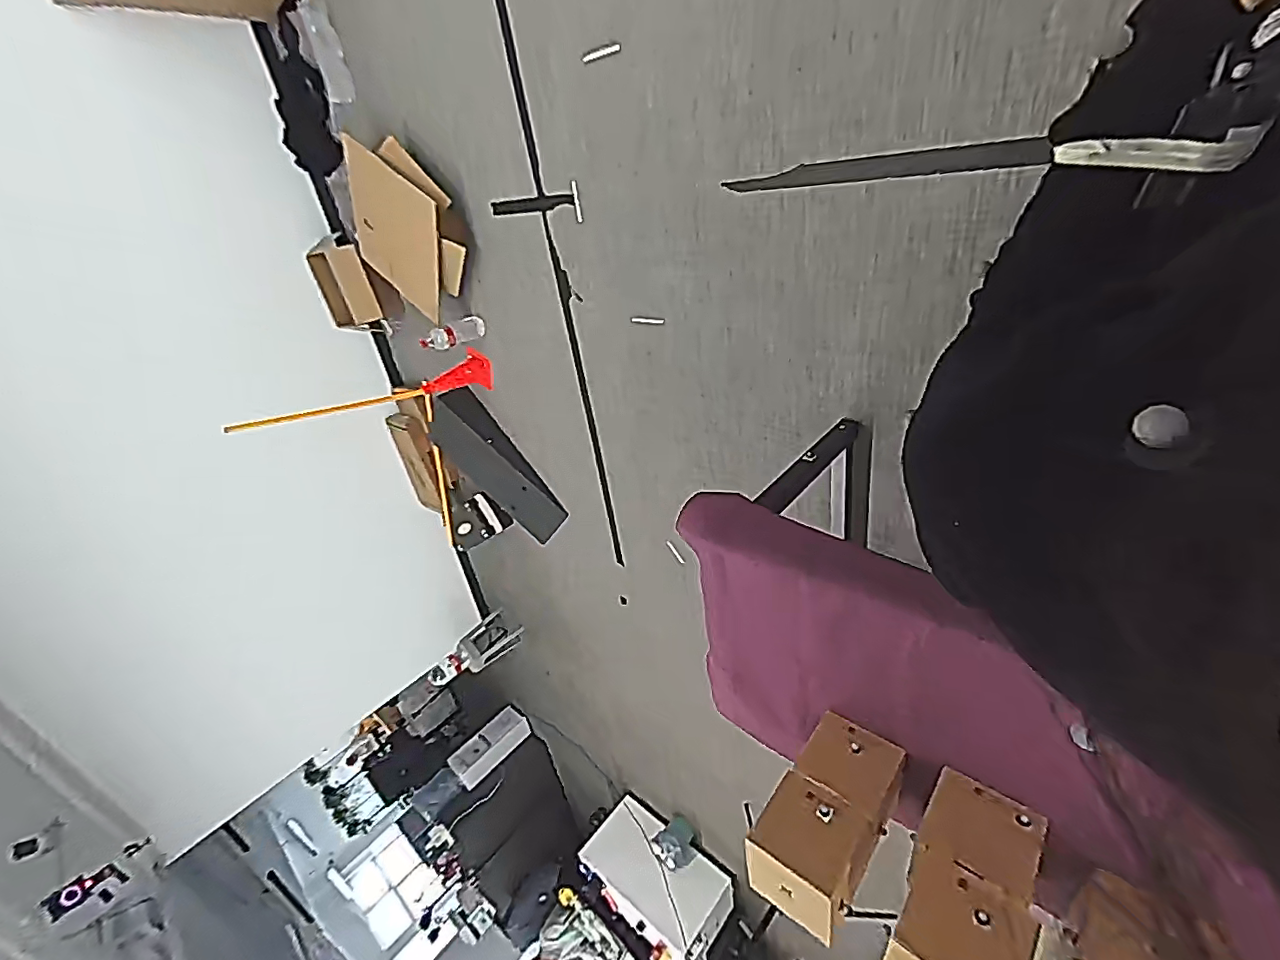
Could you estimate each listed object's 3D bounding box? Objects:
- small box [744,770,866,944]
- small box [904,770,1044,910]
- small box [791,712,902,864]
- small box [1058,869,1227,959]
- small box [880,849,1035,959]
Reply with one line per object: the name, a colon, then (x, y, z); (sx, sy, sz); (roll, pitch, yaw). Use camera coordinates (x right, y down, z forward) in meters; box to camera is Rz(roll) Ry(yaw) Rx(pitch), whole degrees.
small box: (0.316, 0.703, 1.025); (0.168, 0.176, 0.179); (15, 126, 39)
small box: (0.595, 0.665, 0.964); (0.168, 0.176, 0.179); (18, 129, 39)
small box: (0.425, 0.626, 1.118); (0.168, 0.176, 0.179); (17, 128, 37)
small box: (0.775, 0.767, 0.844); (0.168, 0.176, 0.179); (20, 128, 37)
small box: (0.499, 0.746, 0.860); (0.168, 0.176, 0.179); (20, 129, 37)
